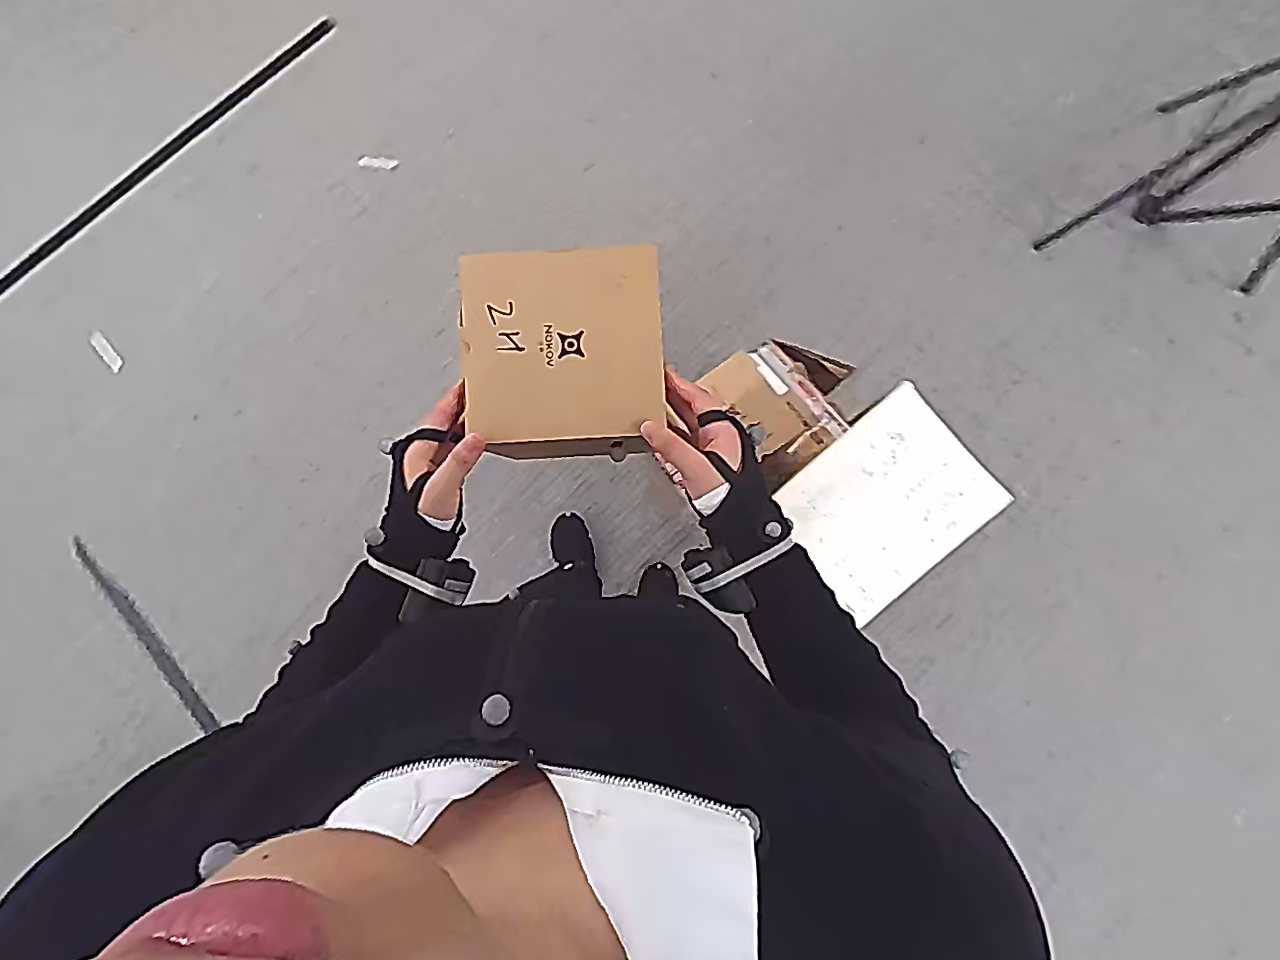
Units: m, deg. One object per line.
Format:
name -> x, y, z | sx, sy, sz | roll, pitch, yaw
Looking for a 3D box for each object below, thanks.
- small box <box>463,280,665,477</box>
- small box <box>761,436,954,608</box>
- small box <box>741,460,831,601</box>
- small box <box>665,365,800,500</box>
small box -> -0.068, -0.092, 0.560 | 0.179, 0.176, 0.168 | -3, 87, 2
small box -> 0.304, 0.062, 0.801 | 0.179, 0.176, 0.168 | -41, 84, -3
small box -> 0.305, 0.087, 0.962 | 0.168, 0.176, 0.179 | -43, 84, -3
small box -> 0.162, -0.075, 0.989 | 0.168, 0.176, 0.179 | -35, 81, -1
